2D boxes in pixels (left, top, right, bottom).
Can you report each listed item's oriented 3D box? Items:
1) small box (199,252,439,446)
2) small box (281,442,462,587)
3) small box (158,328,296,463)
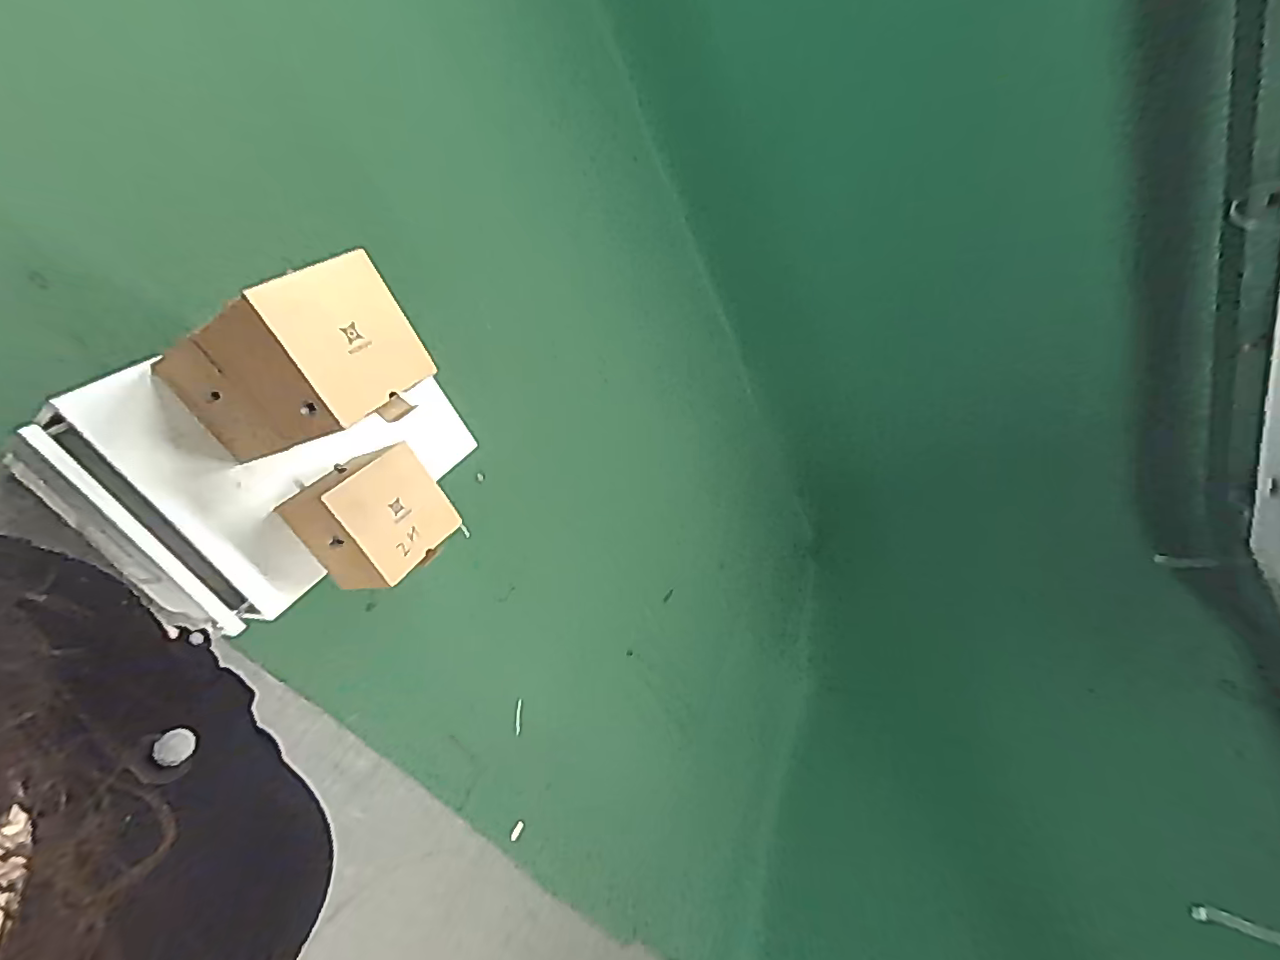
[{"bbox_3d":[-0.410,-0.162,0.698,0.168,0.176,0.179,-54,128,-44],"label":"small box"},{"bbox_3d":[-0.440,0.062,0.890,0.168,0.176,0.179,-51,123,-45],"label":"small box"},{"bbox_3d":[-0.543,-0.144,0.792,0.179,0.176,0.168,62,40,-26],"label":"small box"}]
